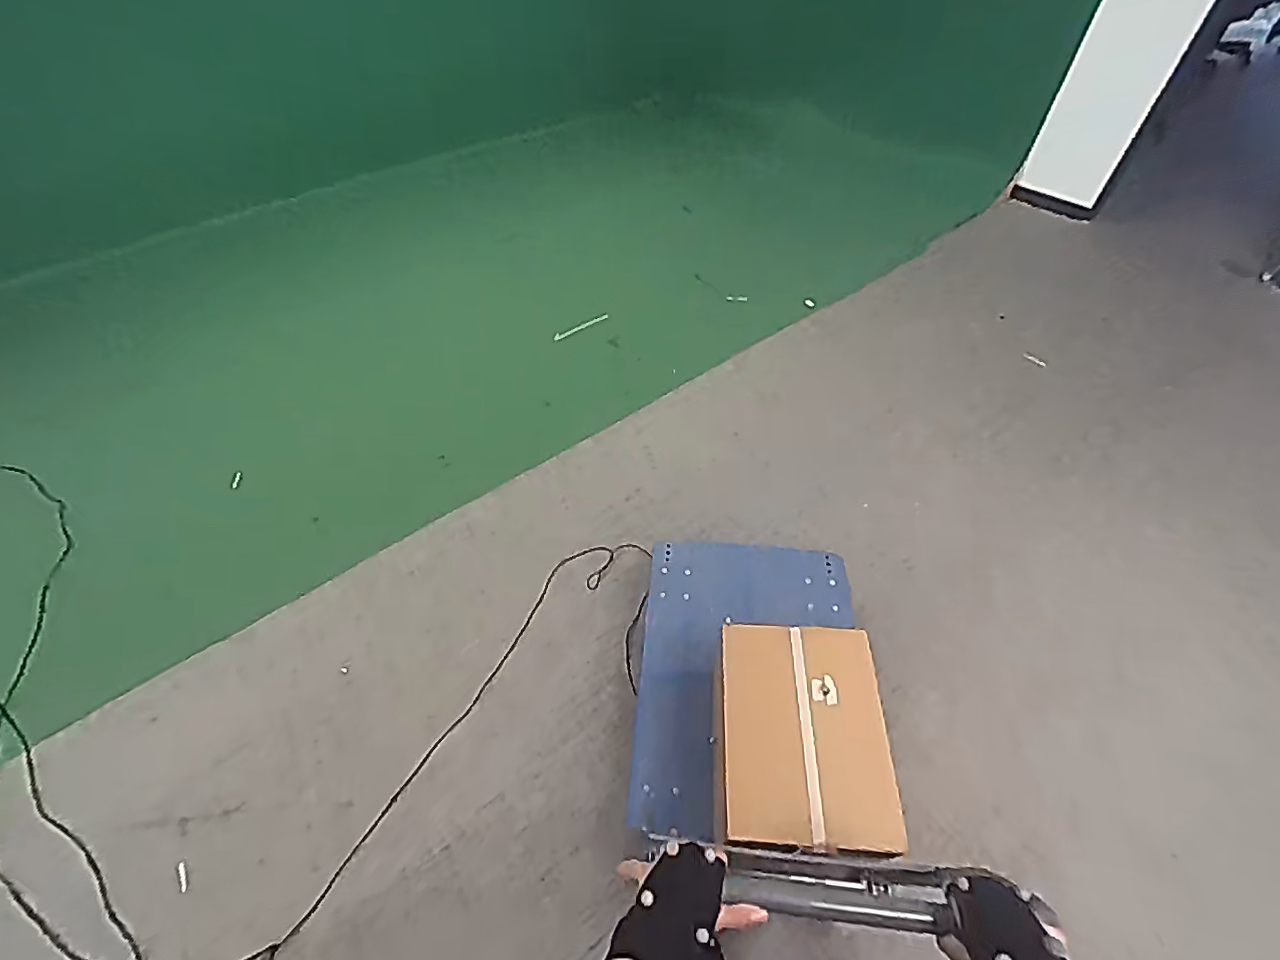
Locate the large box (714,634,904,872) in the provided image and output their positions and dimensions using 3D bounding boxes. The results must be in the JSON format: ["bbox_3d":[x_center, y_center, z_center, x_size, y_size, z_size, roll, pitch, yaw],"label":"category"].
[{"bbox_3d":[0.328,0.597,1.187,0.320,0.320,0.408,2,50,4],"label":"large box"}]
